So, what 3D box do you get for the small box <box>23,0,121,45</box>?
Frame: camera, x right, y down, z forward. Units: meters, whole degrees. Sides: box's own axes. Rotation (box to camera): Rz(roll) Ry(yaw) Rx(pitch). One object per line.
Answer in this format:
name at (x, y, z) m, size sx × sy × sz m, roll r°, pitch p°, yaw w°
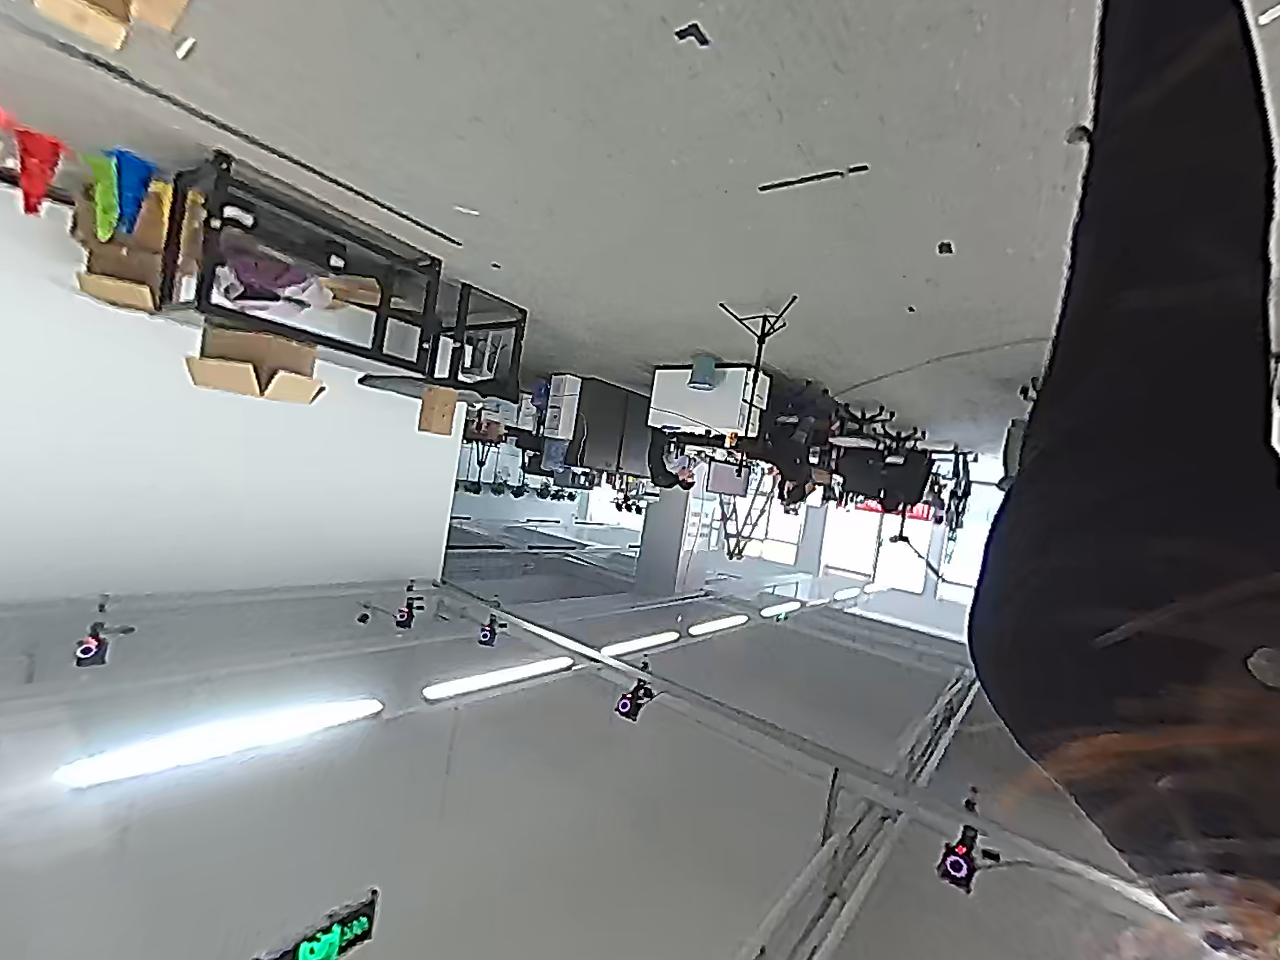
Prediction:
small box at (-1.492, -1.317, 1.426) m, size 0.179 × 0.176 × 0.168 m, roll 8°, pitch -179°, yaw 39°
